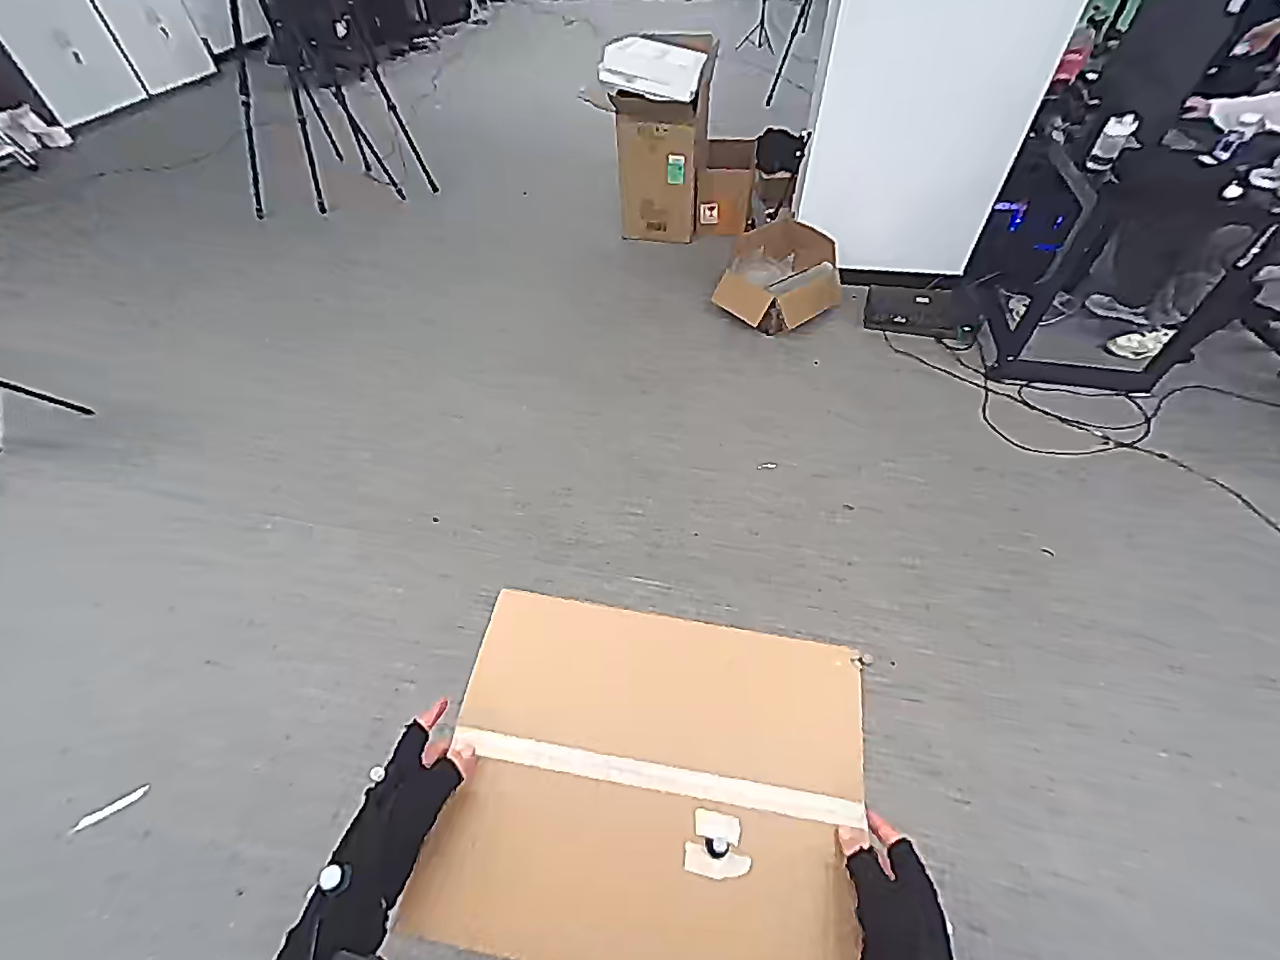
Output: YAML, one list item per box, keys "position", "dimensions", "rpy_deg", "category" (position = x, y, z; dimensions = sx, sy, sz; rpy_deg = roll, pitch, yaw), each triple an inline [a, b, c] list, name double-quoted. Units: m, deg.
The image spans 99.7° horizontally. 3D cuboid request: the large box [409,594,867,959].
- position: [0.012, 0.363, 0.659]
  dimensions: [0.408, 0.320, 0.320]
  rpy_deg: [9, 59, 4]
  category: "large box"
